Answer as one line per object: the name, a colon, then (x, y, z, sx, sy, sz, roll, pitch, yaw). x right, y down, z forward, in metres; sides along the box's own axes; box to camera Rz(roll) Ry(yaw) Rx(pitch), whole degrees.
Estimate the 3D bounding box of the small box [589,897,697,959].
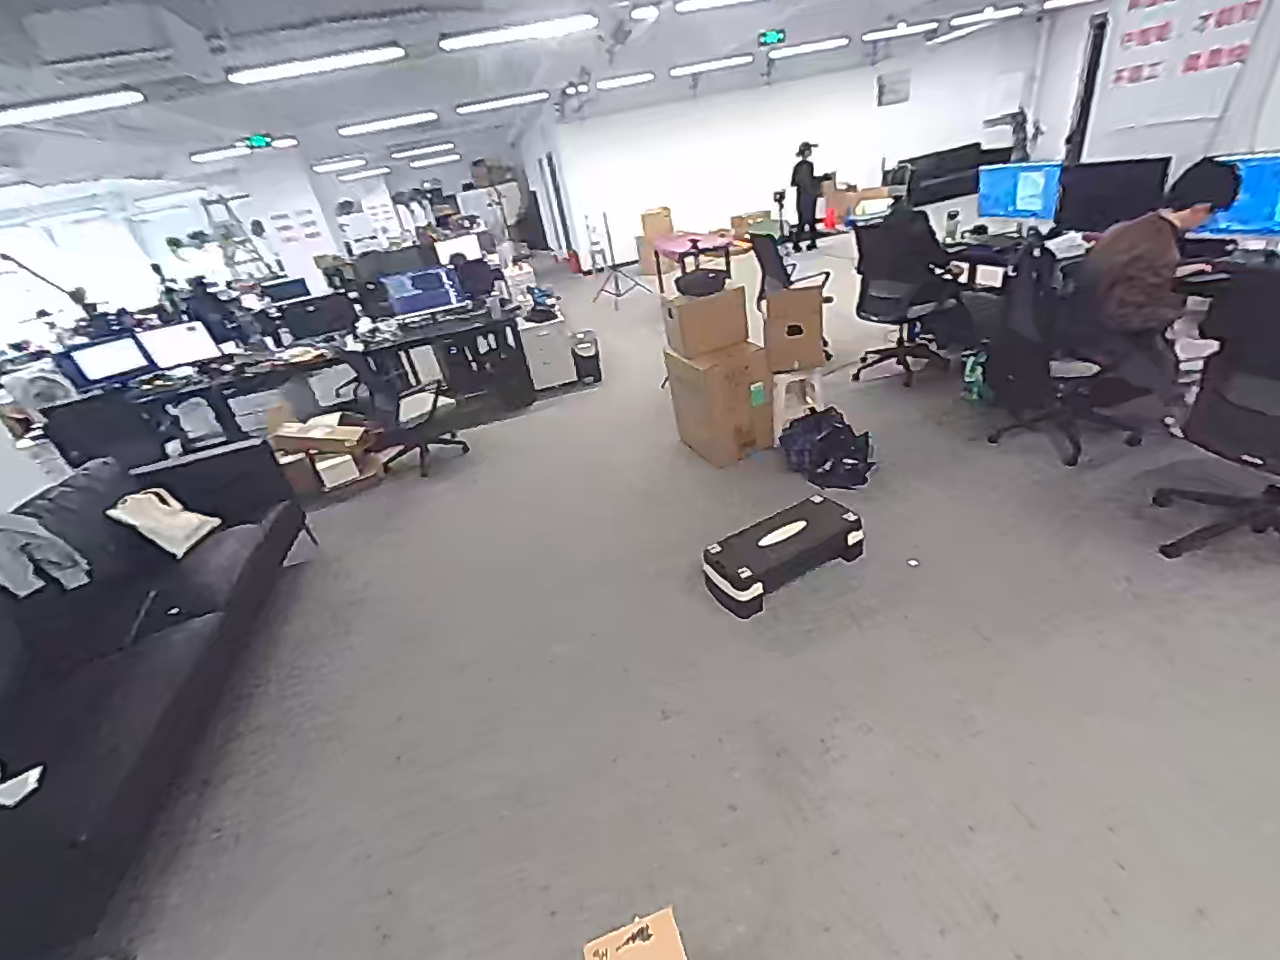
small box: (0.026, 0.868, 0.916, 0.168, 0.176, 0.179, -17, 32, -10)
